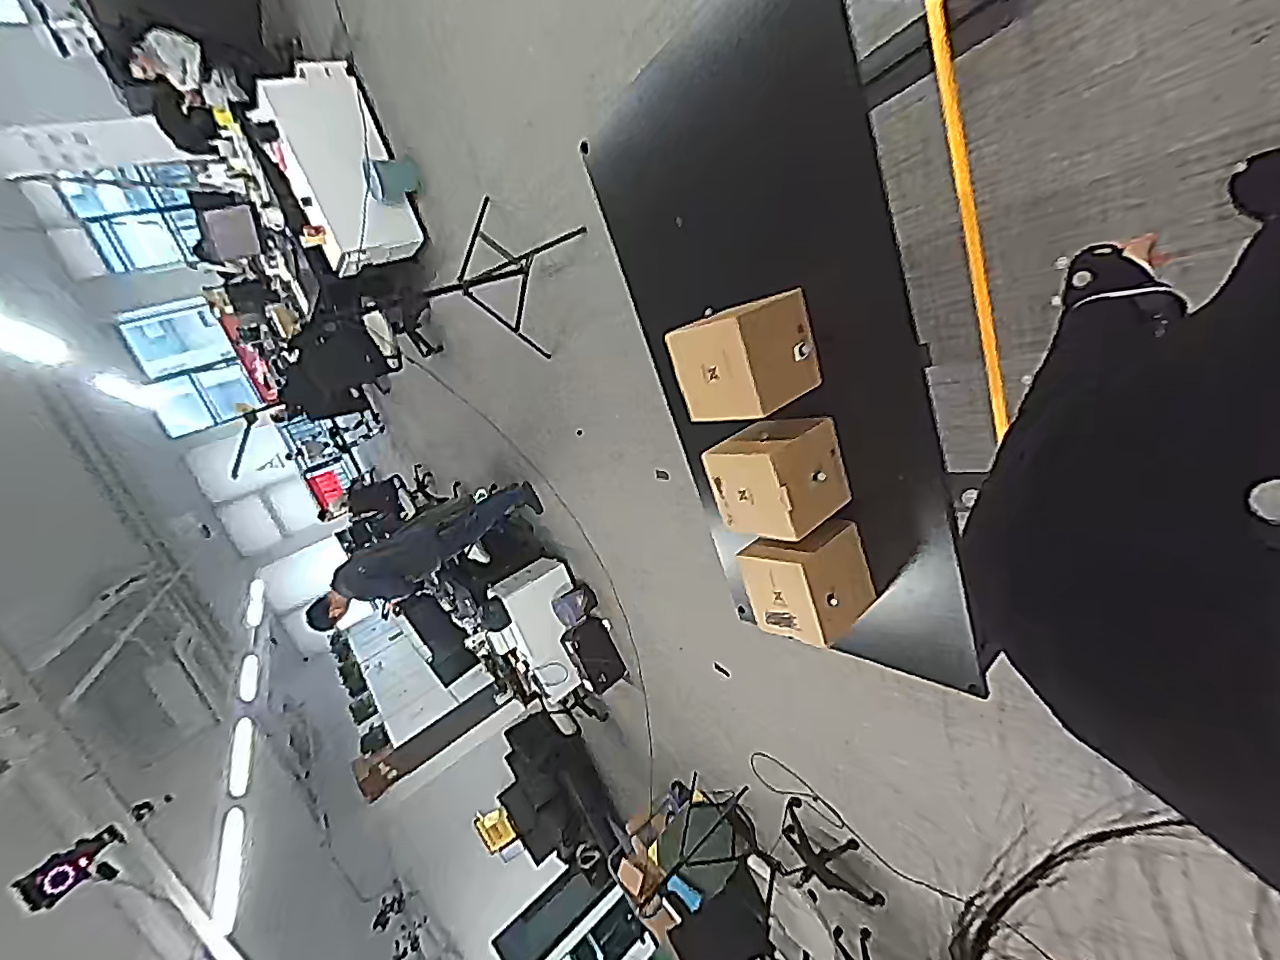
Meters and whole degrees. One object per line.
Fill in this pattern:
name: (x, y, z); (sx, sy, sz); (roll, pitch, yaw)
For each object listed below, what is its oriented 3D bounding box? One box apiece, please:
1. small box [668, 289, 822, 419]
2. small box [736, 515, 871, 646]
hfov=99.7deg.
small box: (0.183, -0.214, 0.942); (0.179, 0.176, 0.168); (3, 119, 55)
small box: (0.323, 0.187, 1.058); (0.168, 0.176, 0.179); (0, 113, 56)
